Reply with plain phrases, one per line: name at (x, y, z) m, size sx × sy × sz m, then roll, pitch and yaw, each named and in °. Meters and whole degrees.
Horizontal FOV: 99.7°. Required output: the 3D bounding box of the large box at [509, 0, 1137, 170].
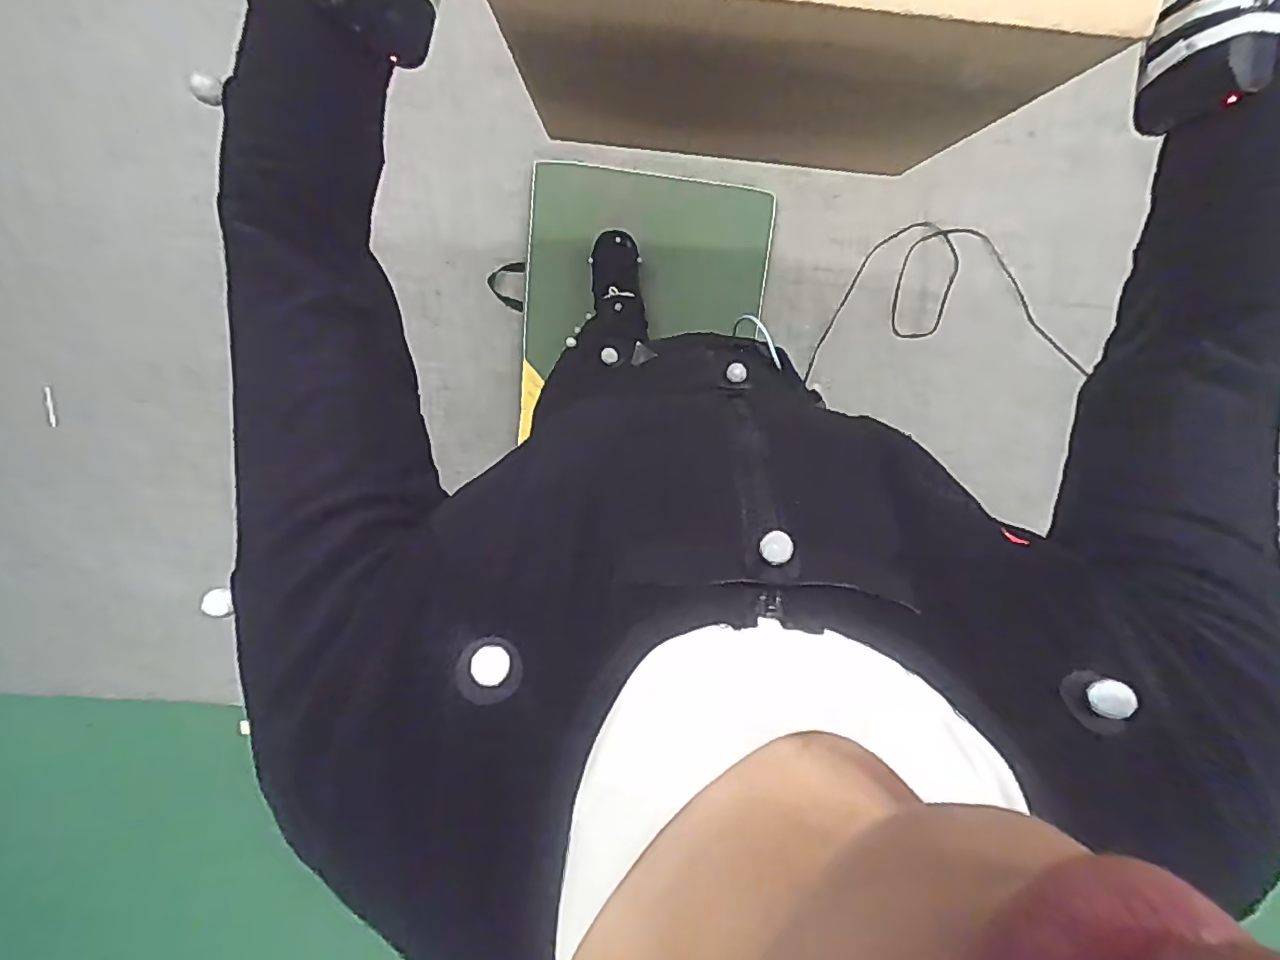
large box at (0.113, -0.474, 0.435) m, size 0.408 × 0.320 × 0.320 m, roll 4°, pitch 106°, yaw -3°
